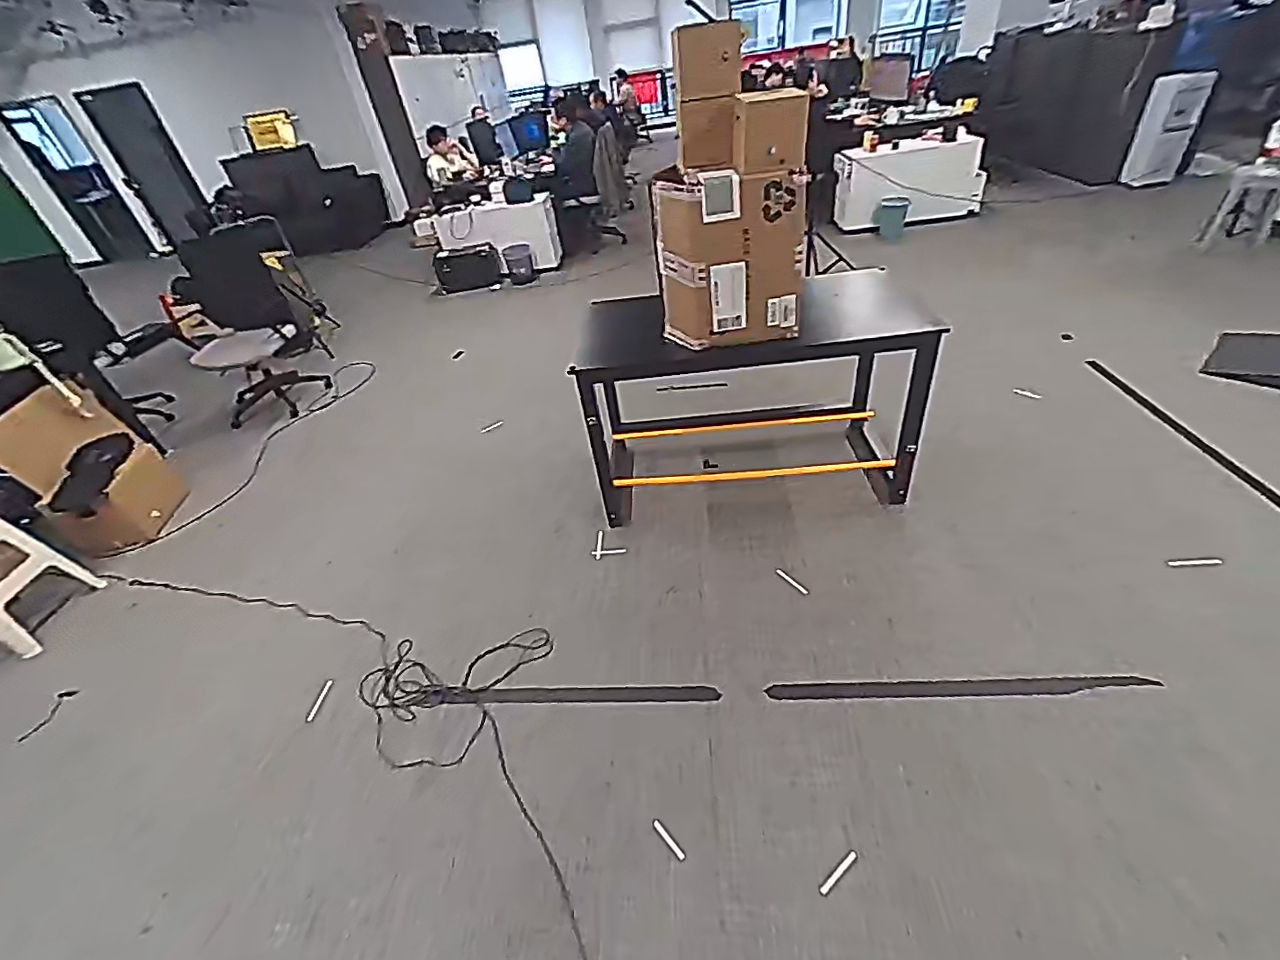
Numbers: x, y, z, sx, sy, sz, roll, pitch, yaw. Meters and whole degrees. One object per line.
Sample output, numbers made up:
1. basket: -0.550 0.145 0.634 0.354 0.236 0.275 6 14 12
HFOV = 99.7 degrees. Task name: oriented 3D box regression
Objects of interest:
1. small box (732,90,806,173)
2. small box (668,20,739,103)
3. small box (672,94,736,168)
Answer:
1. small box: 0.346 -0.956 1.485 0.168 0.176 0.179 -6 40 2
2. small box: 0.180 -1.189 1.544 0.179 0.176 0.168 -8 35 1
3. small box: 0.197 -1.060 1.644 0.179 0.176 0.168 -7 36 3
